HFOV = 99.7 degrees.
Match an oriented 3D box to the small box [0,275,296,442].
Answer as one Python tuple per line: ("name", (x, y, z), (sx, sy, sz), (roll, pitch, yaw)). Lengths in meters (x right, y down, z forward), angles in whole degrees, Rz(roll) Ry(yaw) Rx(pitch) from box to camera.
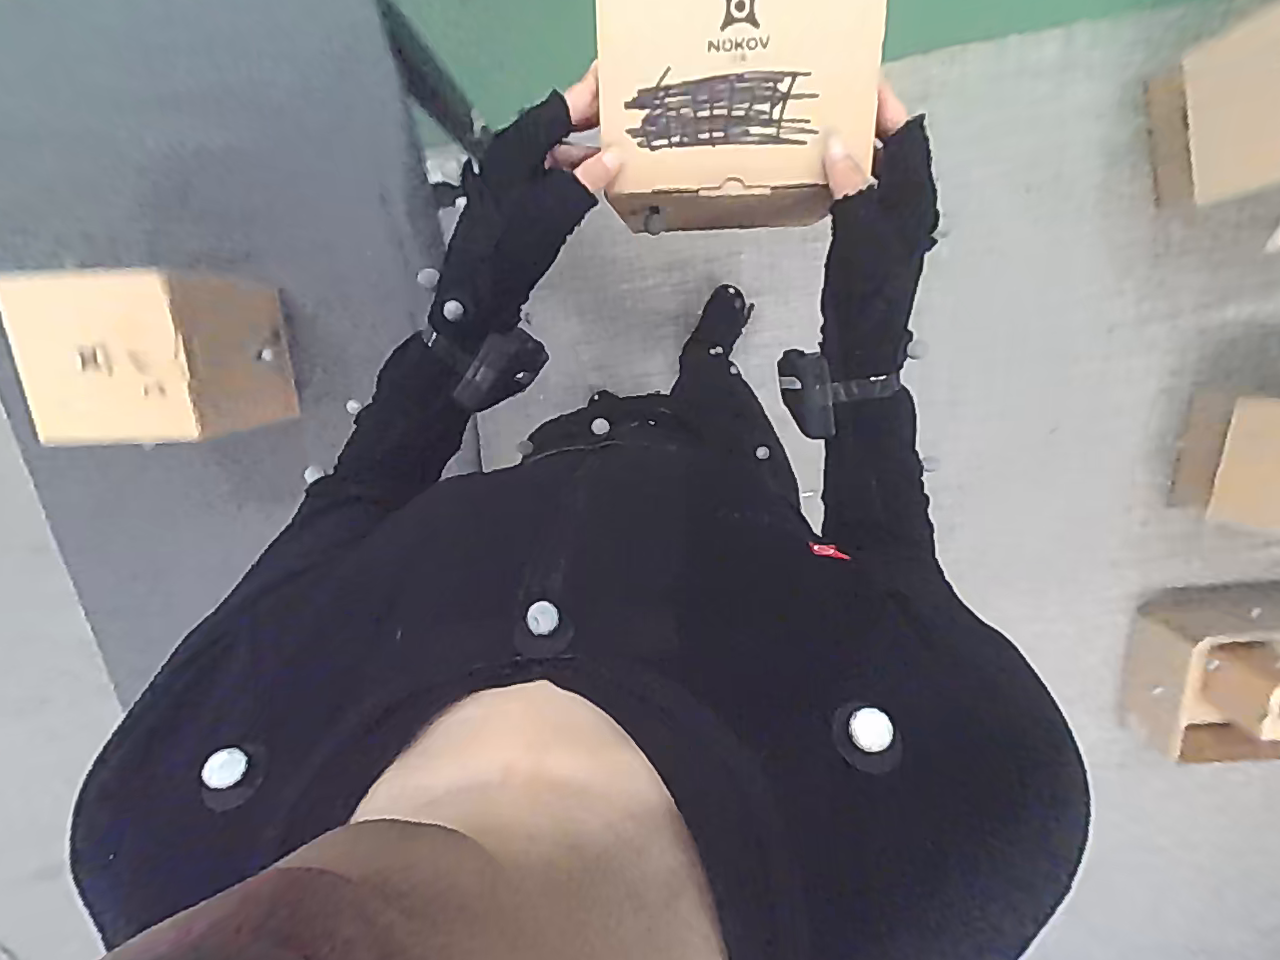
("small box", (-0.543, -0.138, 0.622), (0.179, 0.176, 0.168), (-1, 104, 1))

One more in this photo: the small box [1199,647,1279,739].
("small box", (1.689, 0.570, 1.462), (0.179, 0.176, 0.168), (-3, 105, 0))
